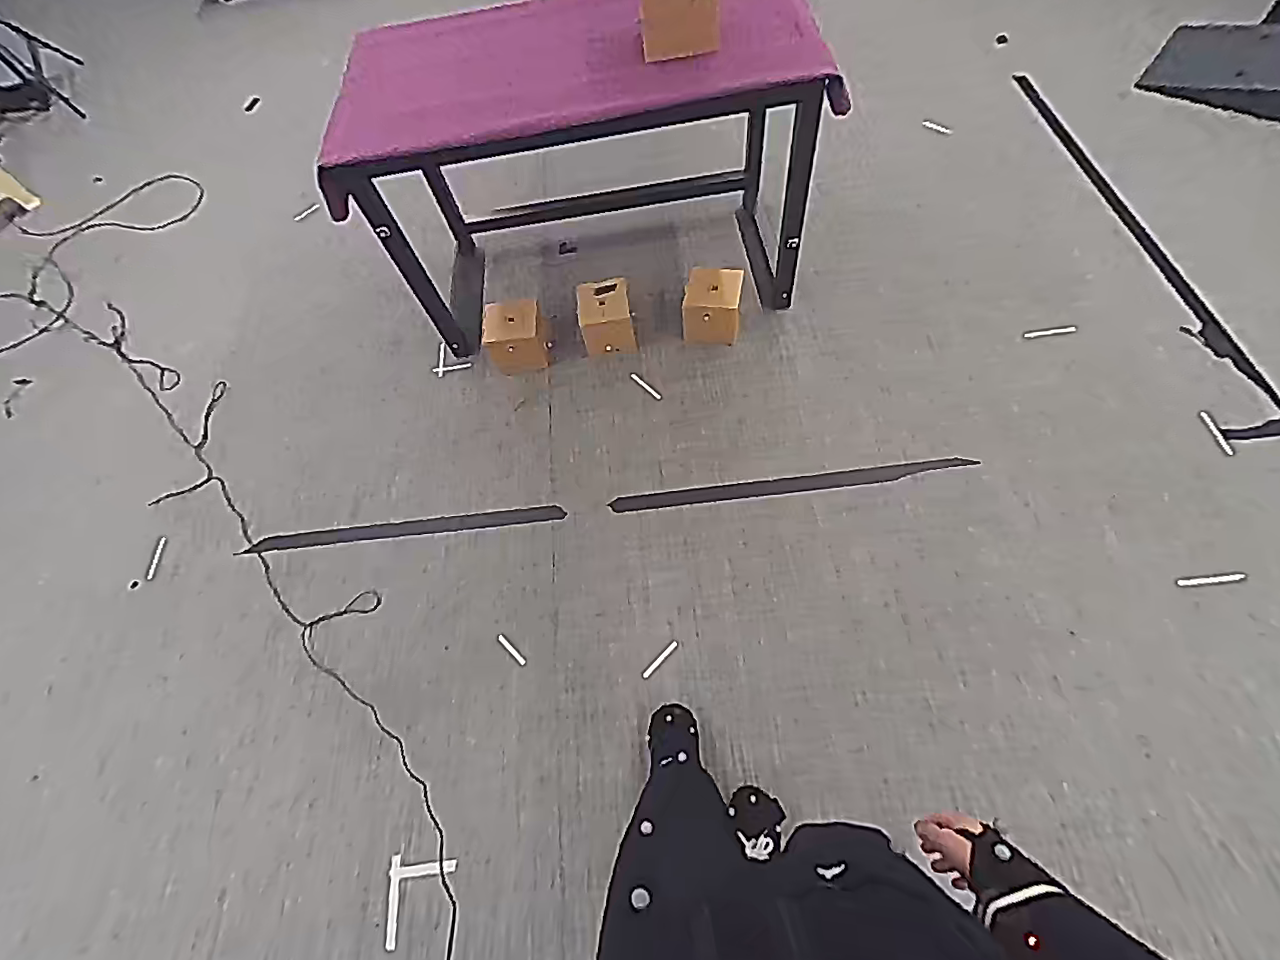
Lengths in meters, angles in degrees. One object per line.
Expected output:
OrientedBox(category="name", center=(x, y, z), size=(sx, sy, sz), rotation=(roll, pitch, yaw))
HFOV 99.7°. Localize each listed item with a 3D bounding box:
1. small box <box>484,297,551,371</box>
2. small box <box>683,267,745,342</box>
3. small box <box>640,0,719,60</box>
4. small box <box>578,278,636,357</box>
OrientedBox(category="small box", center=(-0.410, -0.486, 1.825), size=(0.179, 0.176, 0.168), rotation=(-6, 64, 4))
OrientedBox(category="small box", center=(0.245, -0.574, 1.779), size=(0.179, 0.176, 0.168), rotation=(7, 66, 13))
OrientedBox(category="small box", center=(0.088, -1.115, 1.247), size=(0.179, 0.176, 0.168), rotation=(-6, 62, 5))
OrientedBox(category="small box", center=(-0.110, -0.542, 1.809), size=(0.168, 0.176, 0.179), rotation=(-8, 64, 4))
